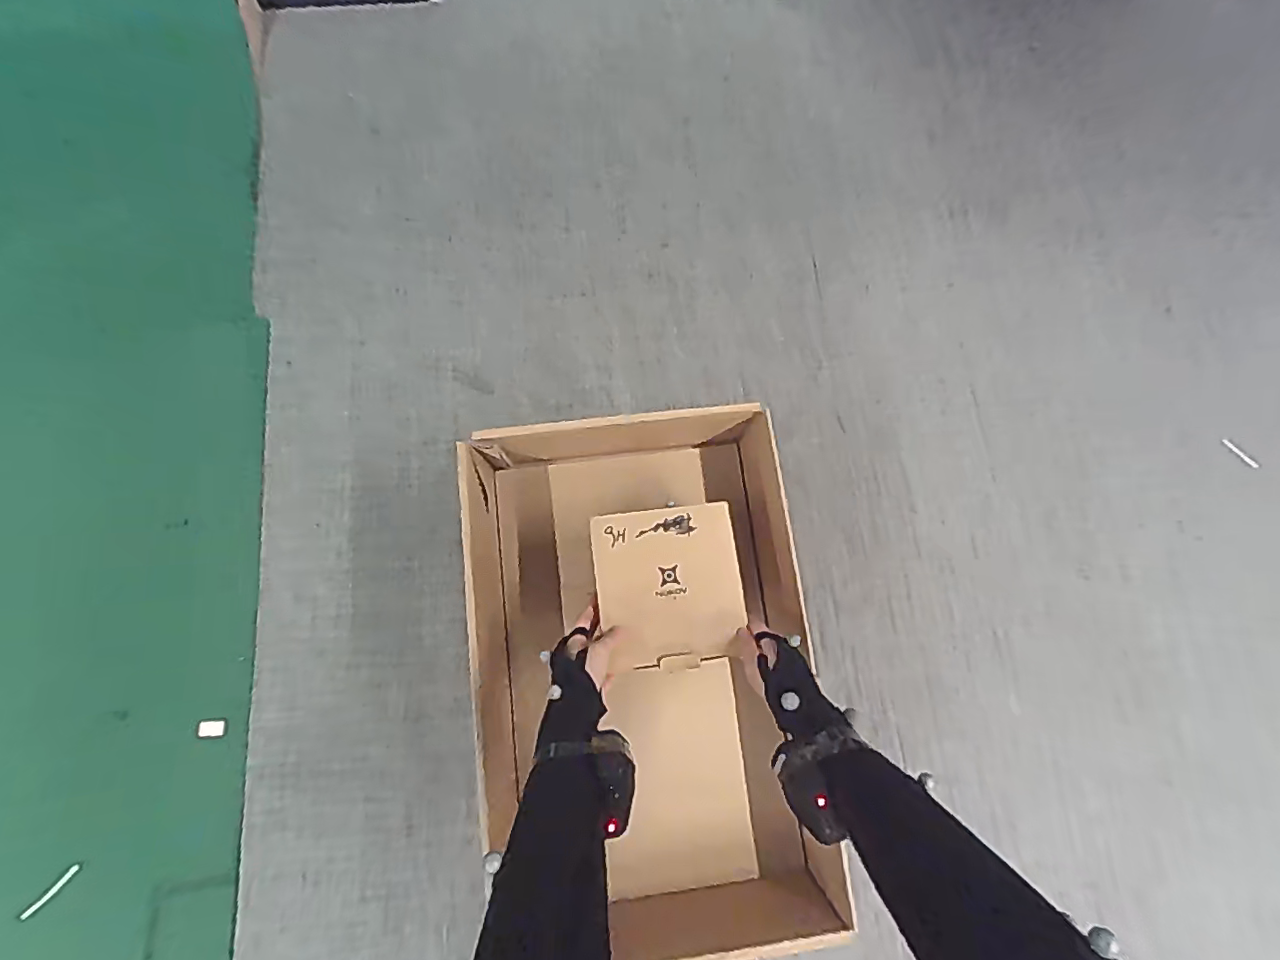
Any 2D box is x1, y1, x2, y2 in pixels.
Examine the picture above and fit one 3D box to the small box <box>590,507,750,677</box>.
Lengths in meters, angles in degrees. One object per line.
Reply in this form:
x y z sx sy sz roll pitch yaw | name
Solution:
0.027 0.140 0.684 0.168 0.176 0.179 -5 76 -6 | small box
